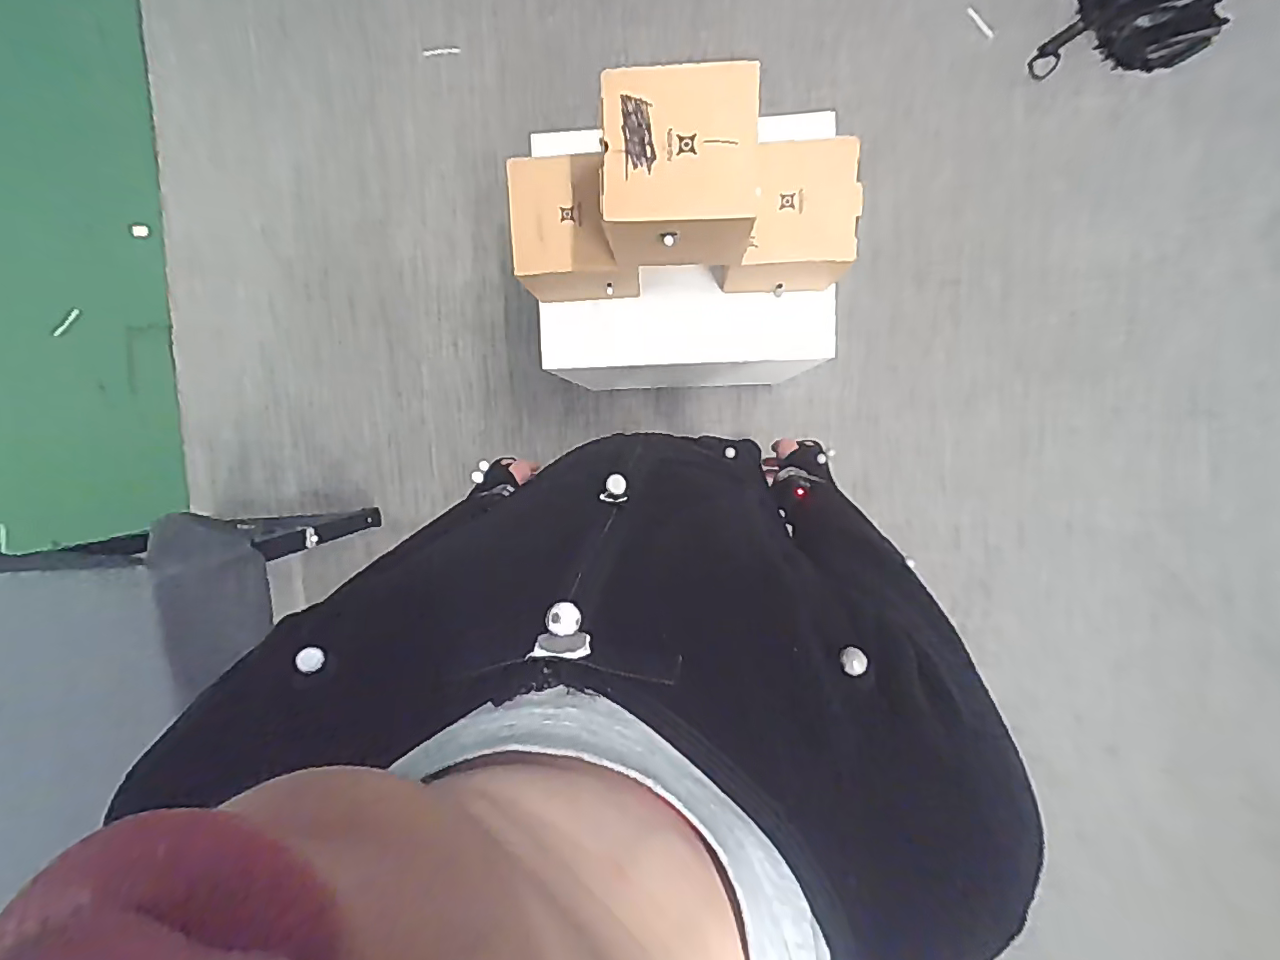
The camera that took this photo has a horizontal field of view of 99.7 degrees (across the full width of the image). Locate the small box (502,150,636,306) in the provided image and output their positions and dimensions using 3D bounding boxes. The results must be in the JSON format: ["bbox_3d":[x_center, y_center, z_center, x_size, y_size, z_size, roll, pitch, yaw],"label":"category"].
[{"bbox_3d":[-0.098,-0.374,0.828,0.179,0.176,0.168,-4,93,2],"label":"small box"}]

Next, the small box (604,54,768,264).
[{"bbox_3d":[0.052,-0.373,0.659,0.179,0.176,0.168,-1,95,2],"label":"small box"}]

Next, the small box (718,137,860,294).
[{"bbox_3d":[0.215,-0.386,0.817,0.179,0.176,0.168,-2,95,3],"label":"small box"}]
